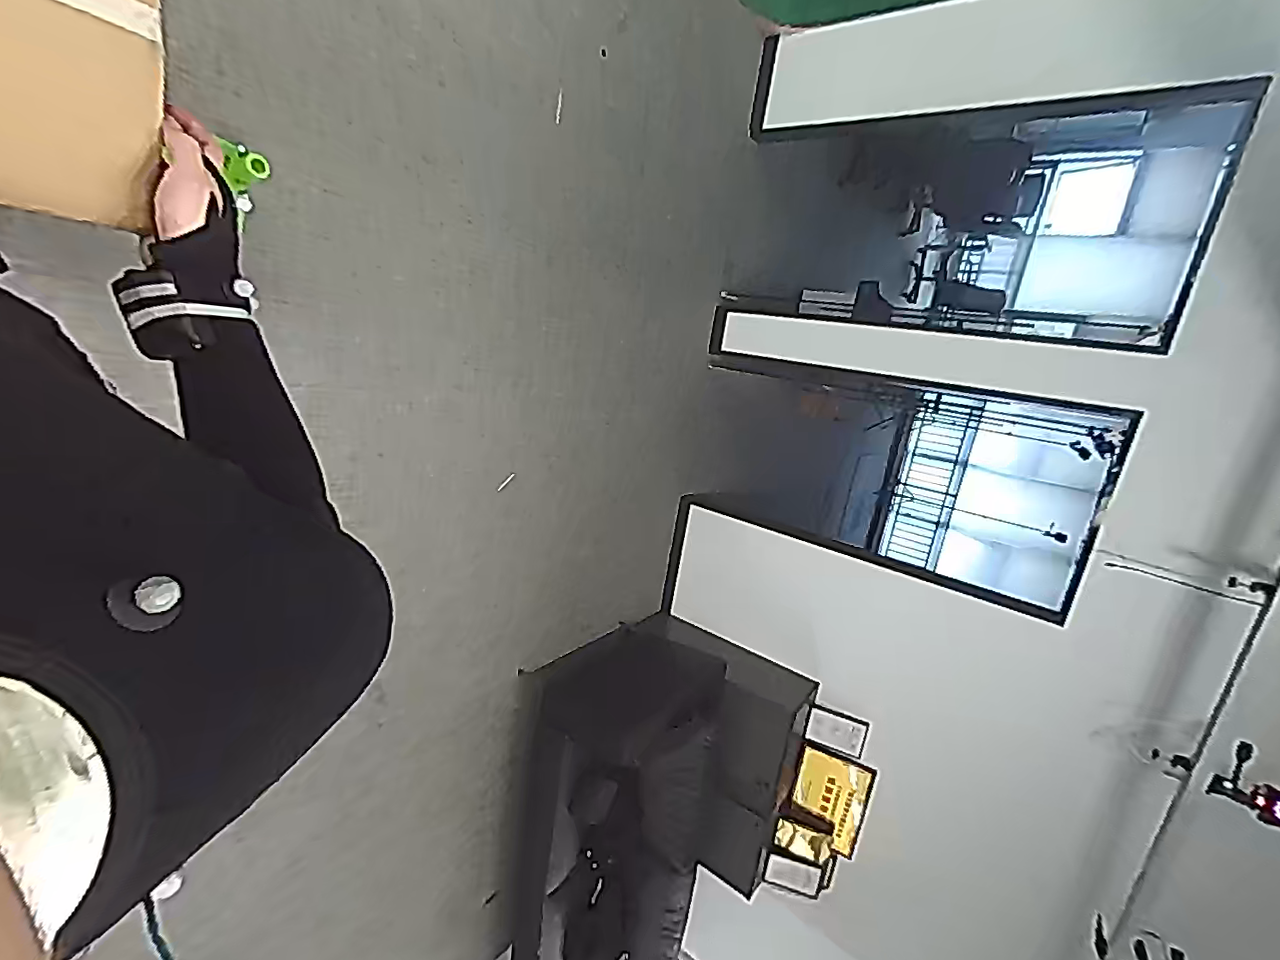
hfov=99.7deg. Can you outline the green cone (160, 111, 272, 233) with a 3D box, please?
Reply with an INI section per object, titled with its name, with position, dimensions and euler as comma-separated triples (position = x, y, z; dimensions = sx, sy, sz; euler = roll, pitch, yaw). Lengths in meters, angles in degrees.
[green cone]
position = -0.869, -0.650, 1.134
dimensions = 0.200, 0.368, 0.202
euler = 1, 103, -57
